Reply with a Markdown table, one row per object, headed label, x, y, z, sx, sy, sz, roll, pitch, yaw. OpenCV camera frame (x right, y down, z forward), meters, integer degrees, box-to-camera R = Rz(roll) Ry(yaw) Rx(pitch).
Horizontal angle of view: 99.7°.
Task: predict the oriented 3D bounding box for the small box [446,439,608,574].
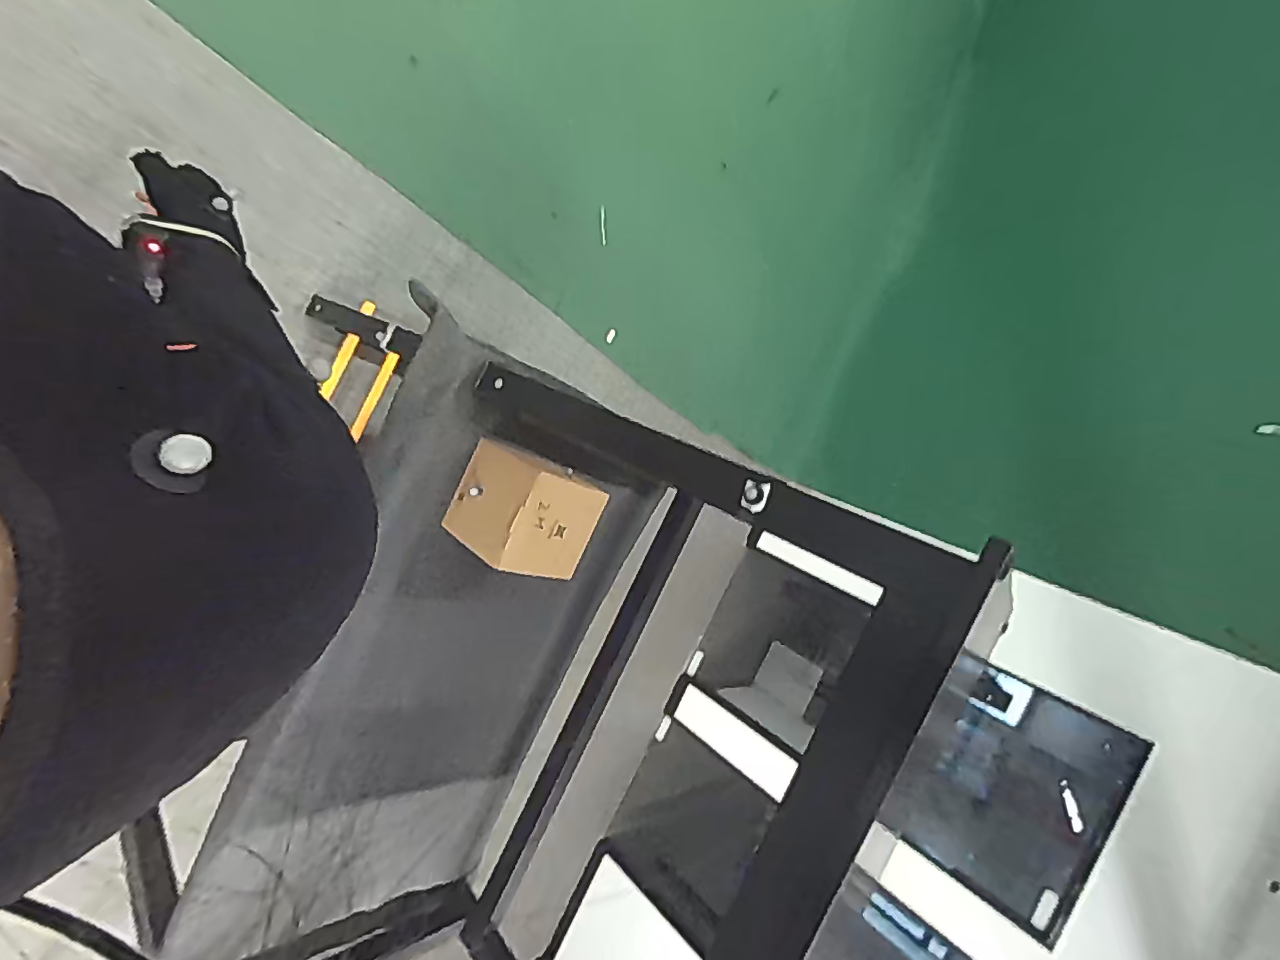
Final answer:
| label | x | y | z | sx | sy | sz | roll | pitch | yaw |
| --- | --- | --- | --- | --- | --- | --- | --- | --- | --- |
| small box | -0.194 | 0.045 | 0.928 | 0.179 | 0.176 | 0.168 | 23 | 92 | -53 |
